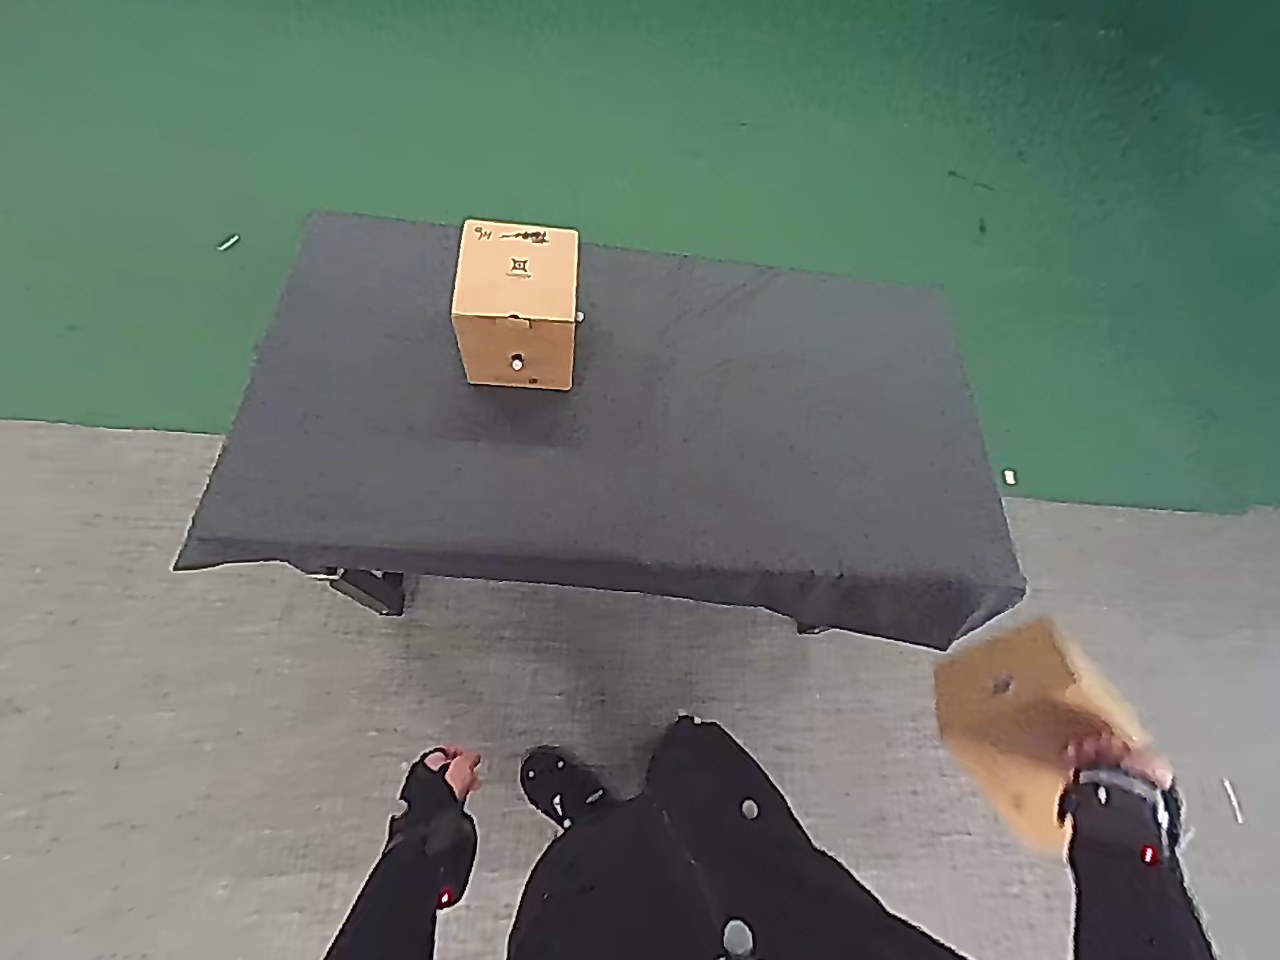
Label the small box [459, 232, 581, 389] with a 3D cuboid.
[{"bbox_3d":[-0.176,-0.255,0.842,0.168,0.176,0.179,-1,66,-7],"label":"small box"}]
